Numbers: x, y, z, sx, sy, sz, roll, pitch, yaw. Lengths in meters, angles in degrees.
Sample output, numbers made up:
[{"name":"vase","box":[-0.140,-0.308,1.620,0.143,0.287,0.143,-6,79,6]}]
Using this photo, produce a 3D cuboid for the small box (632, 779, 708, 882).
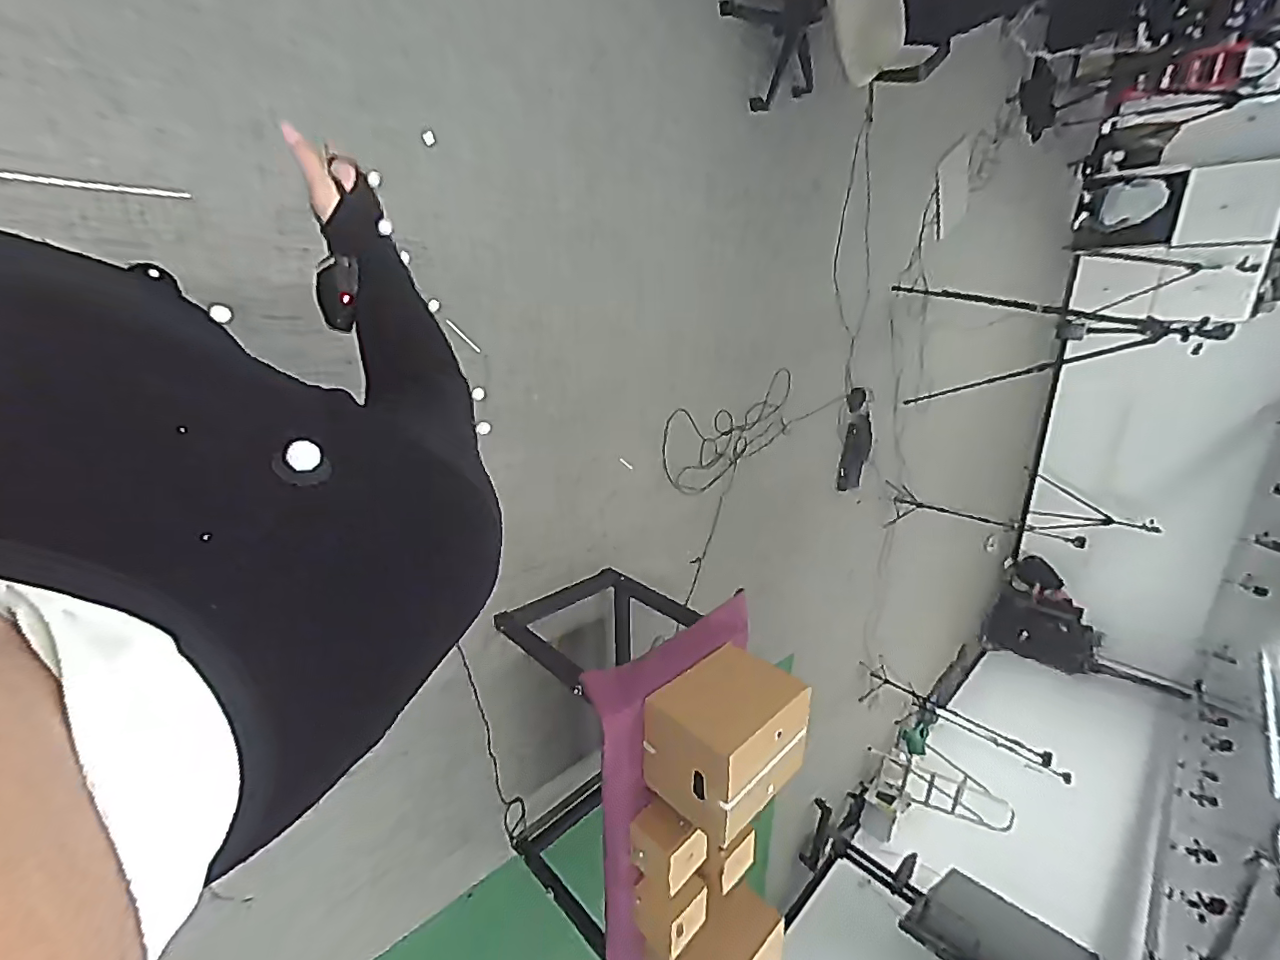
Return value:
[{"name":"small box","box":[0.092,1.088,1.696,0.179,0.176,0.168,-19,115,-42]}]

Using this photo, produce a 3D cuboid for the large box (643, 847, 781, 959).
[{"name":"large box","box":[0.259,1.666,1.958,0.408,0.320,0.320,-15,112,-42]}]
